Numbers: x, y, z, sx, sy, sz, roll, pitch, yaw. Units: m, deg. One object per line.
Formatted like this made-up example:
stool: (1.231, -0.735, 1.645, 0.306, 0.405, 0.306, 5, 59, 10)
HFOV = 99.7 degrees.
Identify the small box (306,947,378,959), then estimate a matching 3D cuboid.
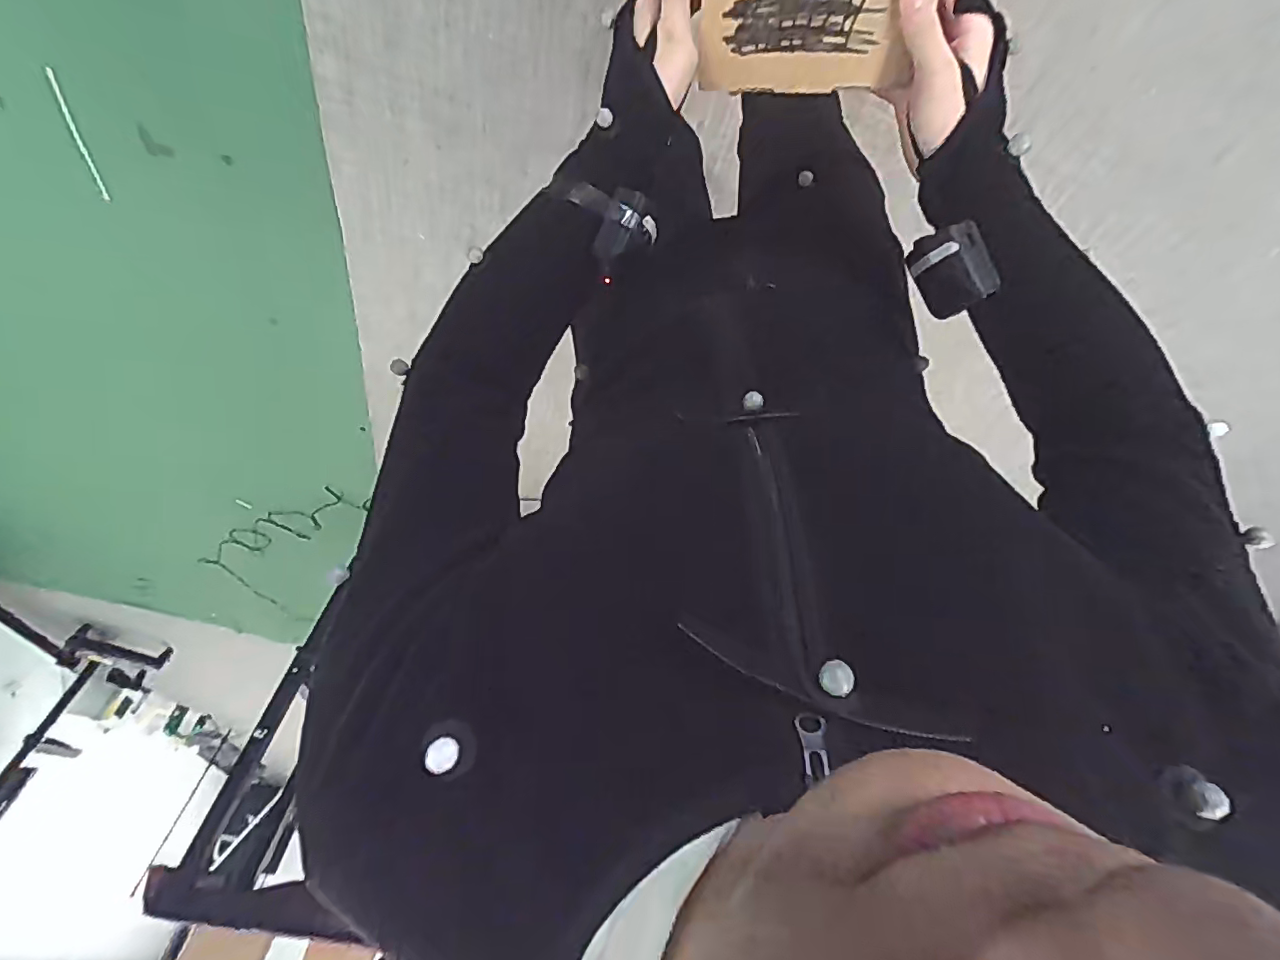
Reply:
small box: (-0.851, 1.407, 1.490, 0.179, 0.176, 0.168, 14, 139, -8)

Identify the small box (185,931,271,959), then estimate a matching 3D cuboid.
small box: (-1.126, 1.332, 1.451, 0.179, 0.176, 0.168, 17, 136, -10)
